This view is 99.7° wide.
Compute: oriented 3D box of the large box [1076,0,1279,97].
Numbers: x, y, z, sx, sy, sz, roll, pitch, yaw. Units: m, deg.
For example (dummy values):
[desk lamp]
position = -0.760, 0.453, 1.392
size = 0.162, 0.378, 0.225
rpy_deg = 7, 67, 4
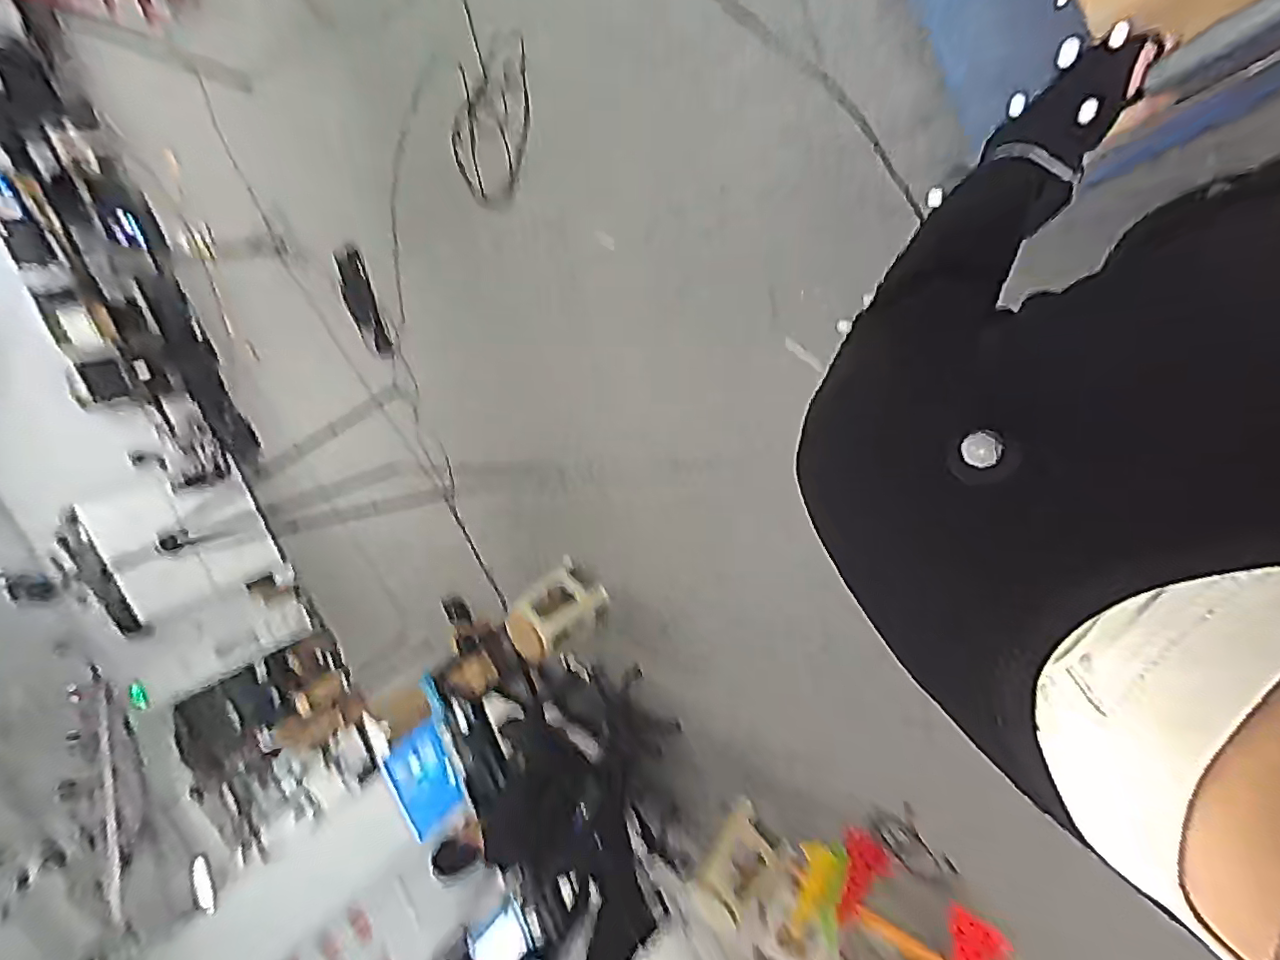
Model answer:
[large box]
position = 0.775, -0.833, 0.738
size = 0.320, 0.320, 0.408
rpy_deg = -22, 96, 47
